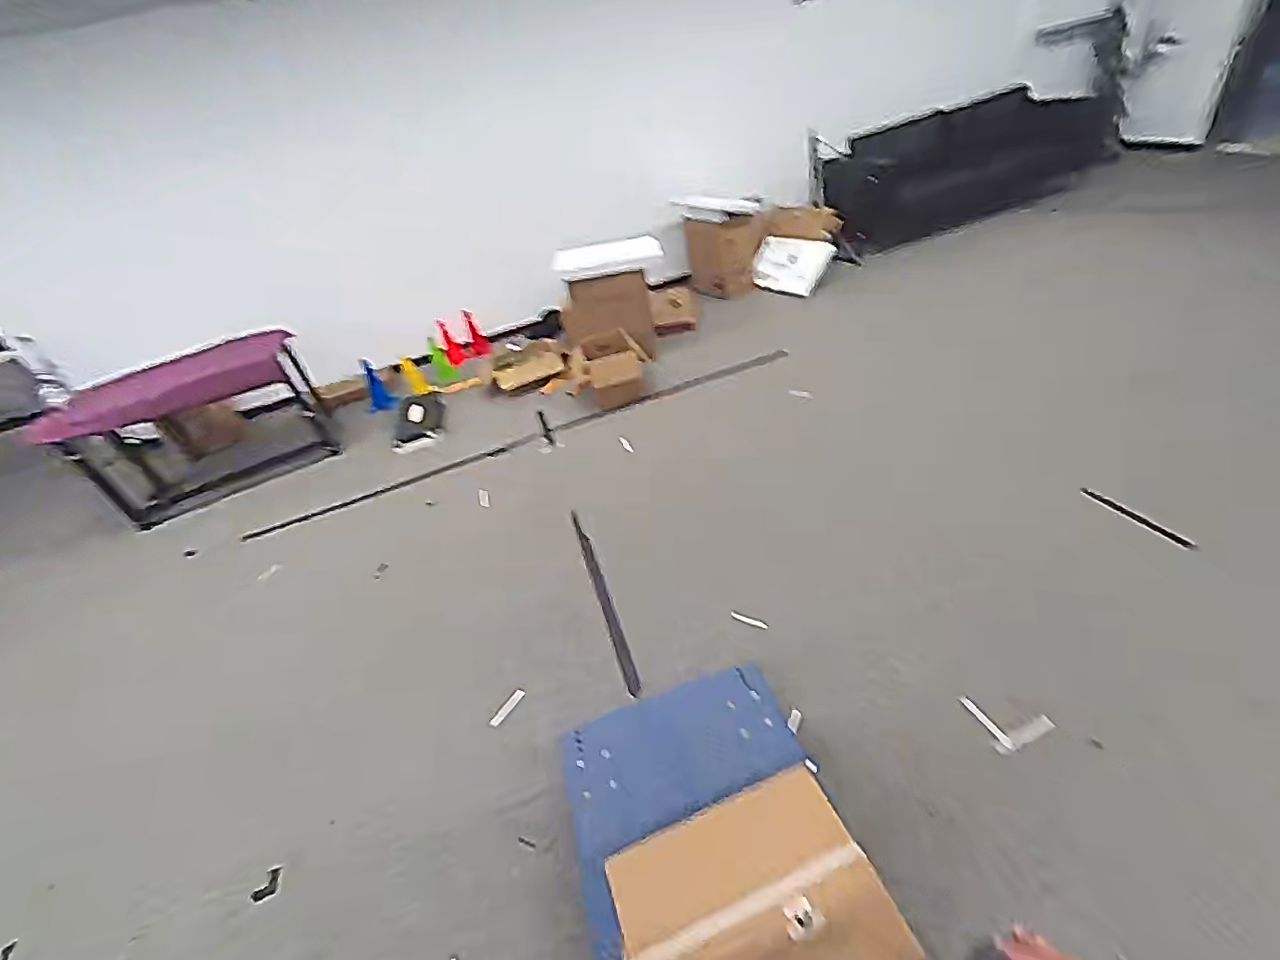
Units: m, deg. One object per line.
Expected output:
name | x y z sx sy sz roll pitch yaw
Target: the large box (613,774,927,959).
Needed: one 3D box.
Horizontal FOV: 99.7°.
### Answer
large box | 0.209 0.810 0.936 0.408 0.320 0.320 -19 36 -10
